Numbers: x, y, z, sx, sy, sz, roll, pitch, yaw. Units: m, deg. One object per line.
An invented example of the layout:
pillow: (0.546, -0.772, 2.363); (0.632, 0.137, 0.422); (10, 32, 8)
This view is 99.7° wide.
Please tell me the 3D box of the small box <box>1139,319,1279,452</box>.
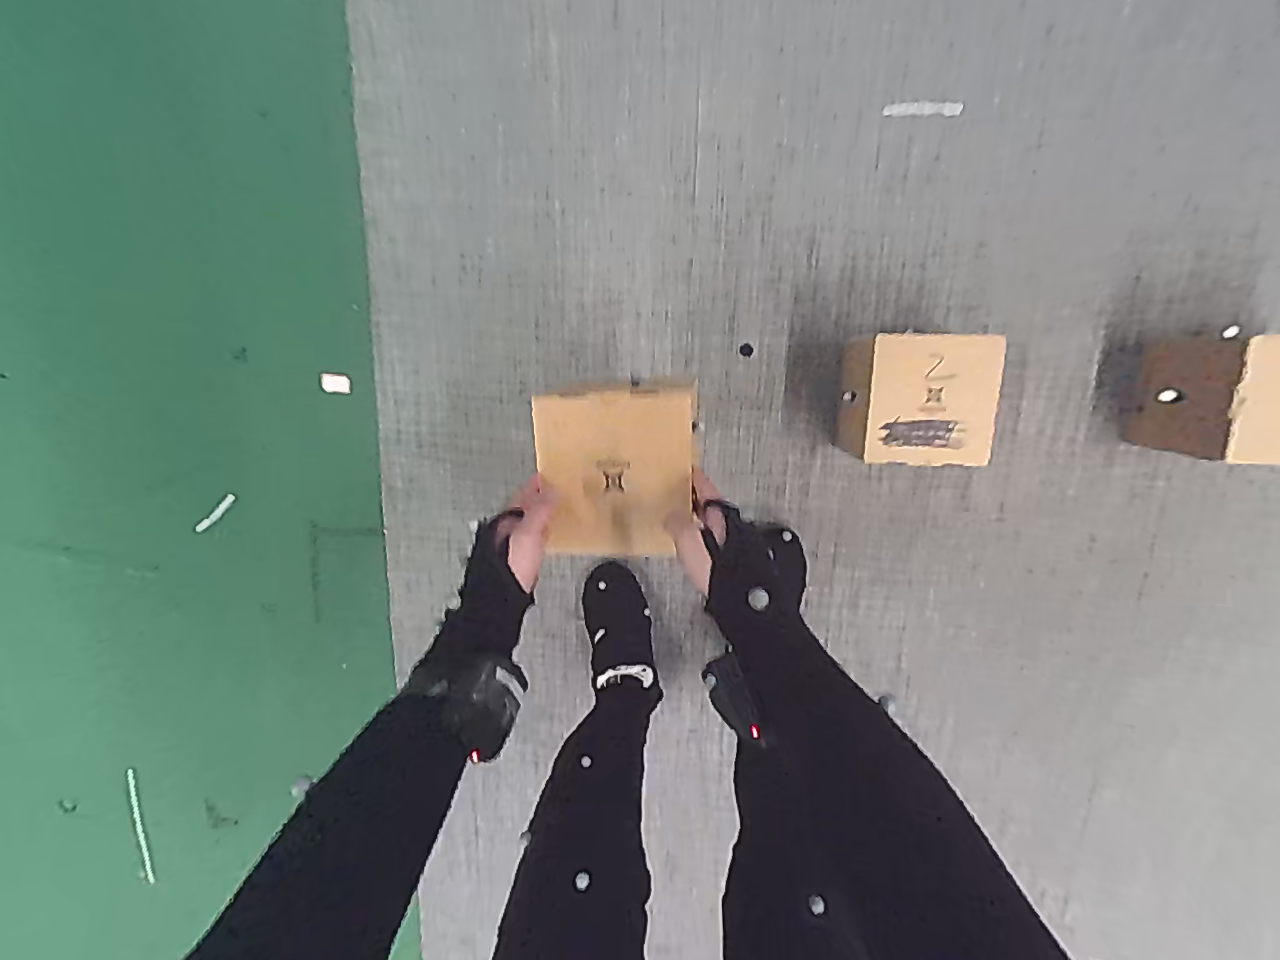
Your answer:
small box: (0.852, -0.129, 0.743); (0.179, 0.176, 0.168); (2, 103, 6)

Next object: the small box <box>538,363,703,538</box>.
small box: (-0.011, -0.043, 0.638); (0.168, 0.176, 0.179); (-1, 104, 7)
